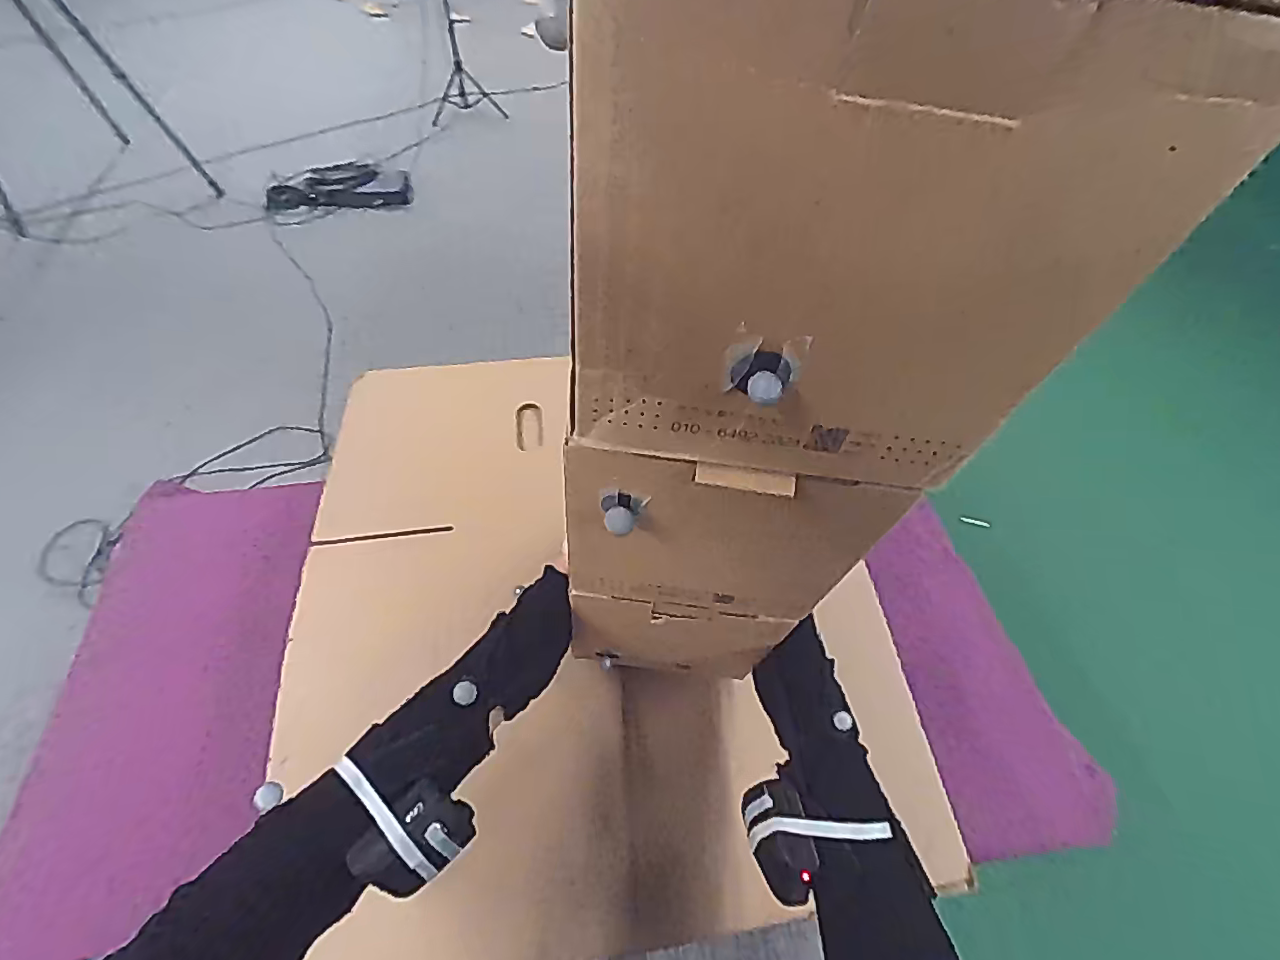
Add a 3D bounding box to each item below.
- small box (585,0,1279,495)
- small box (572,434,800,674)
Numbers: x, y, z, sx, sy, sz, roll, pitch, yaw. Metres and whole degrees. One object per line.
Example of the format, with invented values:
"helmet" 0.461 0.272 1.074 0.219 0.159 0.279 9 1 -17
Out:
"small box" 0.069 -0.118 0.222 0.168 0.176 0.179 7 56 -2
"small box" 0.037 0.064 0.492 0.168 0.176 0.179 8 56 -1
